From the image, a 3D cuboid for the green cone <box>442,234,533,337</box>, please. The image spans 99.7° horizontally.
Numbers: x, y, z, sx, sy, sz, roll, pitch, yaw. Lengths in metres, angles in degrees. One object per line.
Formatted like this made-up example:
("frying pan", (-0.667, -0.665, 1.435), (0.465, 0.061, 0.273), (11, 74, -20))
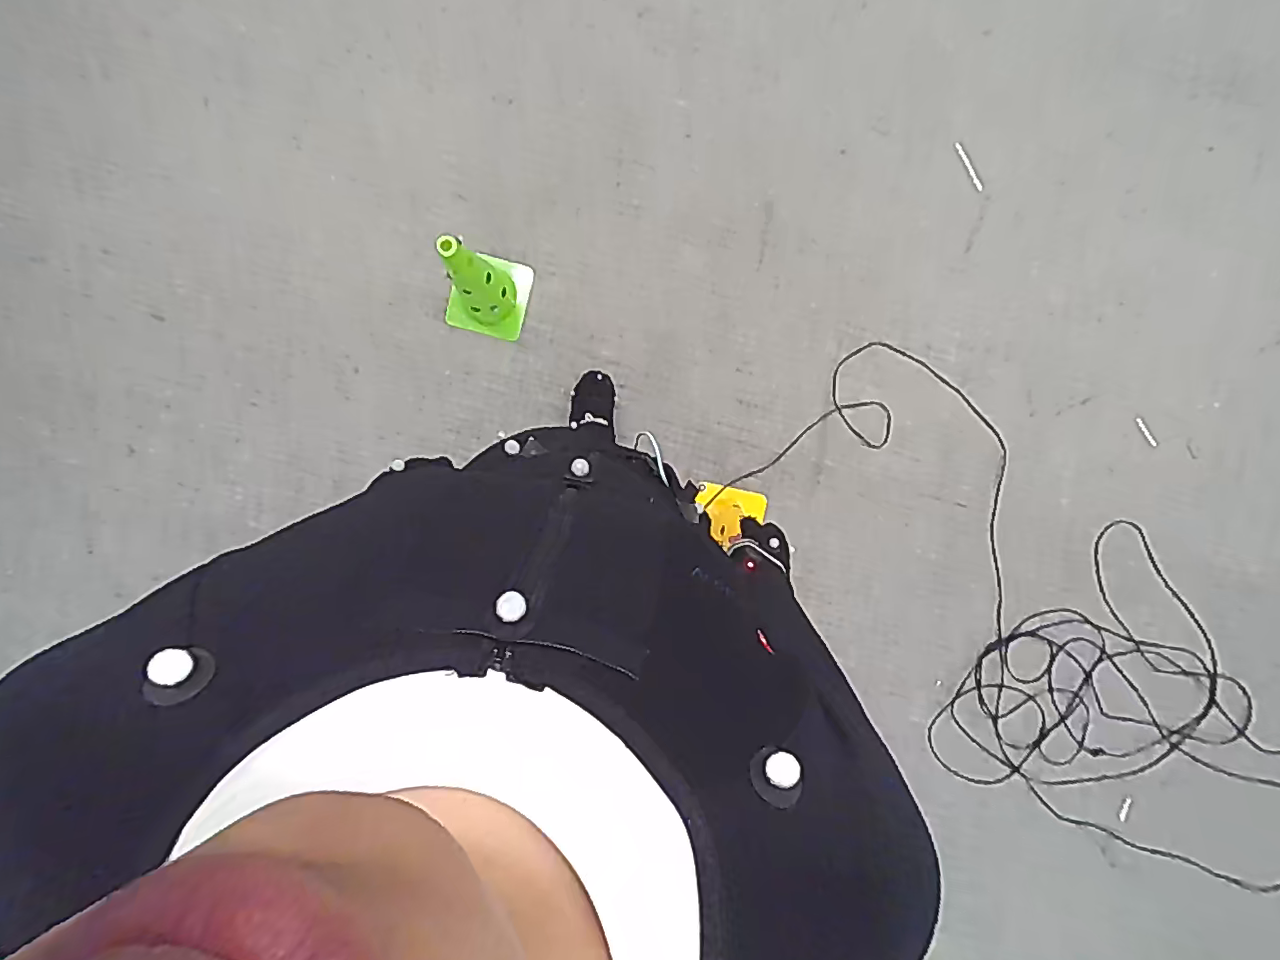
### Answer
("green cone", (-0.388, -0.479, 1.250), (0.202, 0.368, 0.200), (14, 94, -4))
